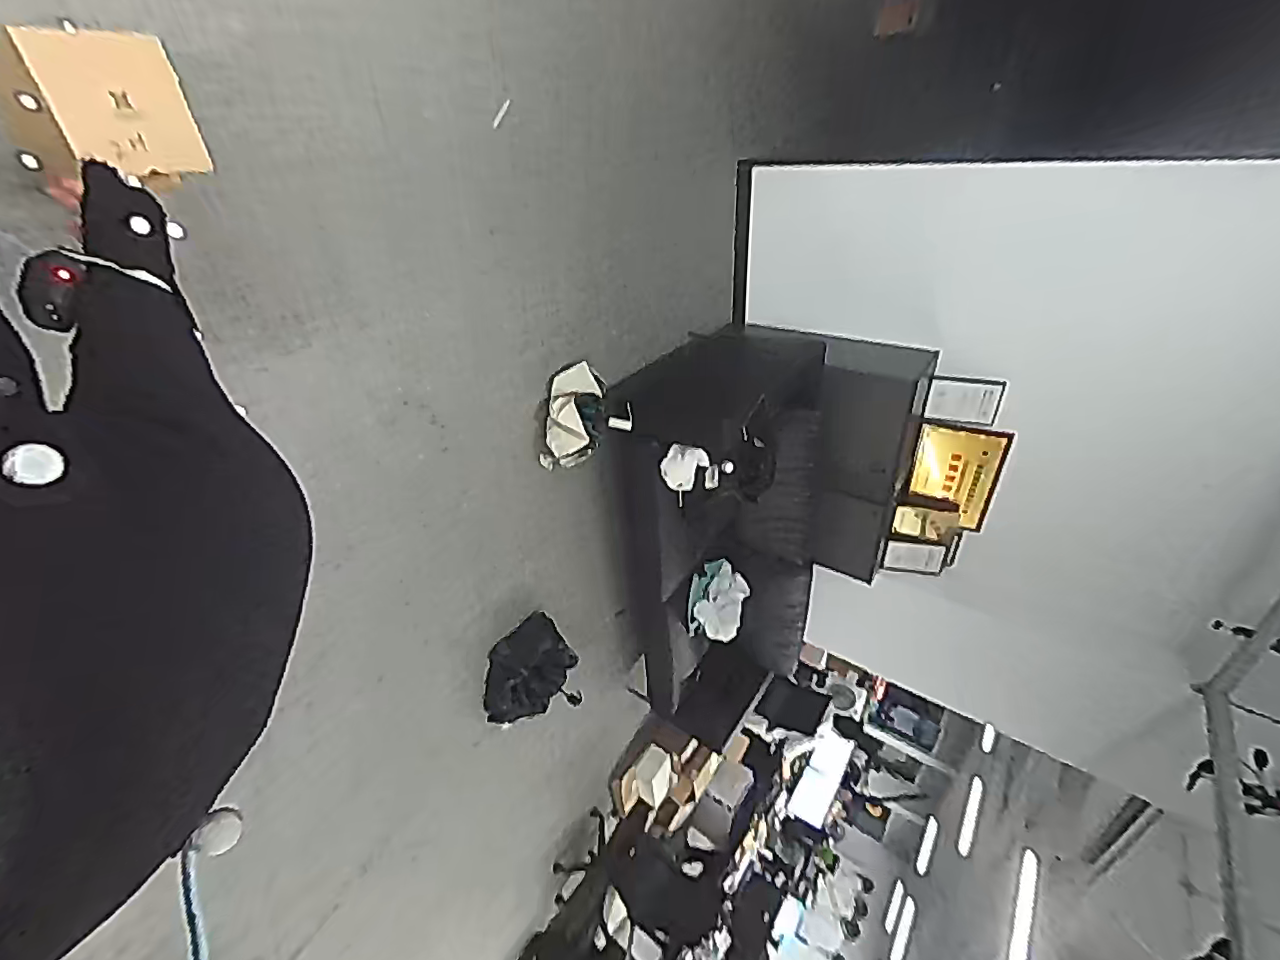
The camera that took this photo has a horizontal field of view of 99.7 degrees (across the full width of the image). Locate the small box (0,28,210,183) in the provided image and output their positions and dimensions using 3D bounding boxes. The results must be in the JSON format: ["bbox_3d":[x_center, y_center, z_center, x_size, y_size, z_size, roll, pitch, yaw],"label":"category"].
[{"bbox_3d":[-0.819,-0.559,0.824,0.168,0.176,0.179,-39,137,-41],"label":"small box"}]

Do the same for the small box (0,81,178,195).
[{"bbox_3d":[-0.948,-0.593,0.921,0.168,0.176,0.179,-37,136,-44],"label":"small box"}]
